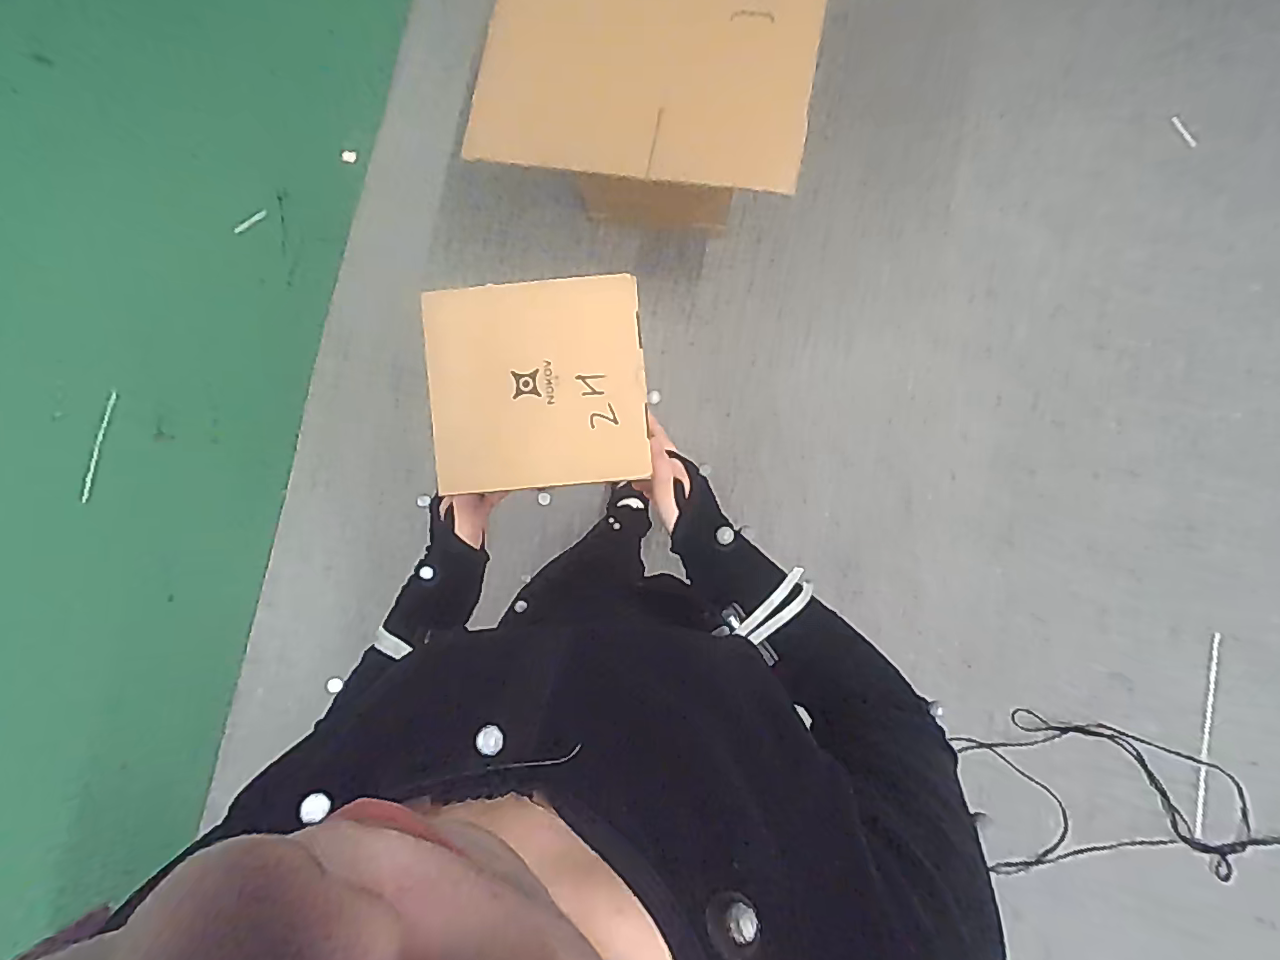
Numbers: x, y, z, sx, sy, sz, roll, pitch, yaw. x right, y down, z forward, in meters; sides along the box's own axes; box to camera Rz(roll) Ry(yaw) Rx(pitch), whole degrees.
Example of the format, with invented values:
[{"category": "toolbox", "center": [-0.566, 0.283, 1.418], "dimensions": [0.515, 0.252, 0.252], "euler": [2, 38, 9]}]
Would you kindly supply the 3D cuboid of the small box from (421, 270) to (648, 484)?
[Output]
[{"category": "small box", "center": [-0.085, -0.082, 0.514], "dimensions": [0.179, 0.176, 0.168], "euler": [-4, 90, 1]}]
